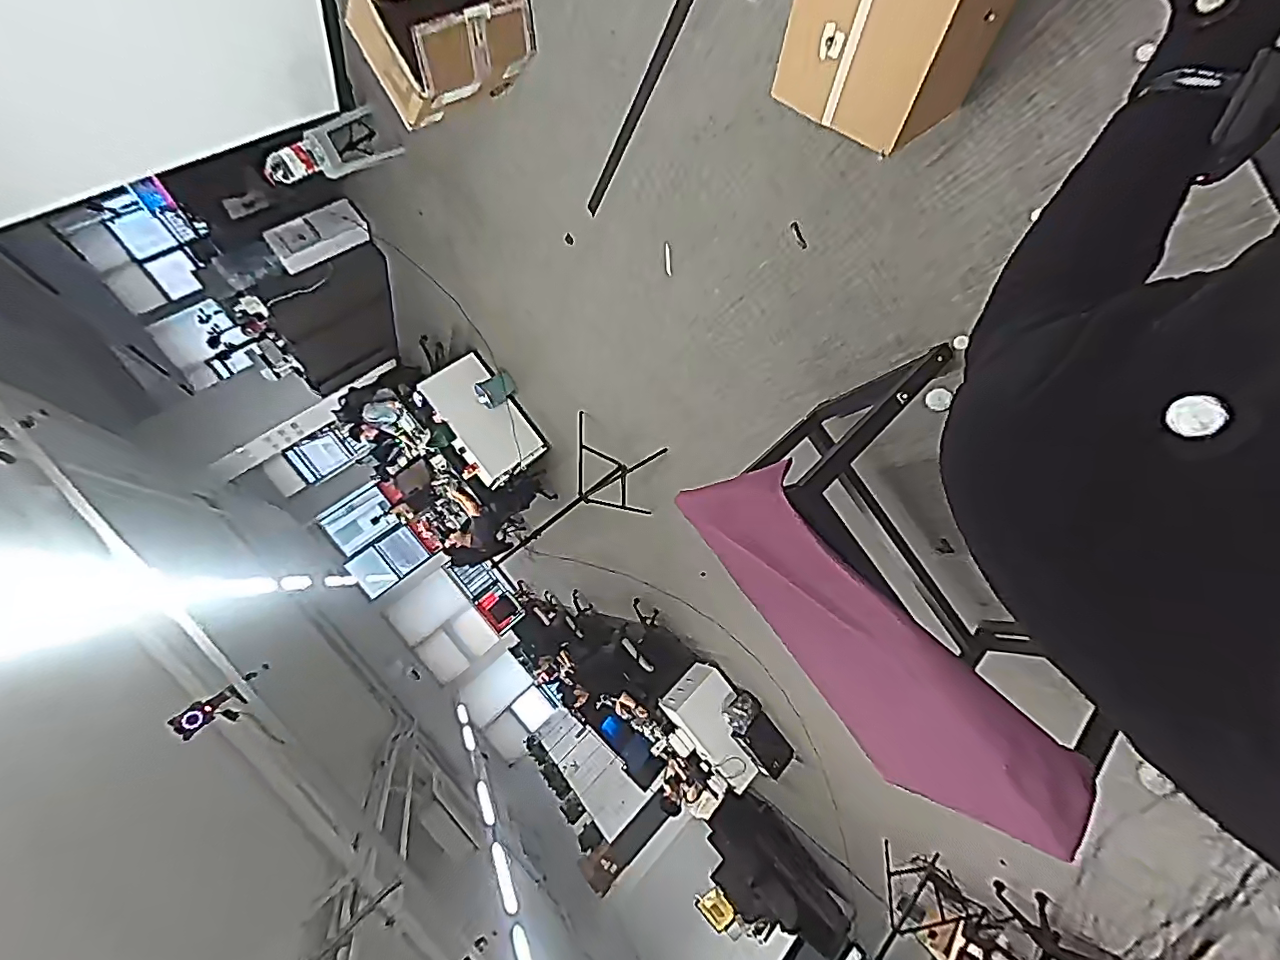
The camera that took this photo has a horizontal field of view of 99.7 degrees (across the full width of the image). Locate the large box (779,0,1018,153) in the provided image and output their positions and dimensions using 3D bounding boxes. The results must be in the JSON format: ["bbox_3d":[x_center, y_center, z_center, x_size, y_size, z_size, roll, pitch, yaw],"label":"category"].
[{"bbox_3d":[0.521,-0.940,1.020,0.320,0.320,0.408,43,157,19],"label":"large box"}]
